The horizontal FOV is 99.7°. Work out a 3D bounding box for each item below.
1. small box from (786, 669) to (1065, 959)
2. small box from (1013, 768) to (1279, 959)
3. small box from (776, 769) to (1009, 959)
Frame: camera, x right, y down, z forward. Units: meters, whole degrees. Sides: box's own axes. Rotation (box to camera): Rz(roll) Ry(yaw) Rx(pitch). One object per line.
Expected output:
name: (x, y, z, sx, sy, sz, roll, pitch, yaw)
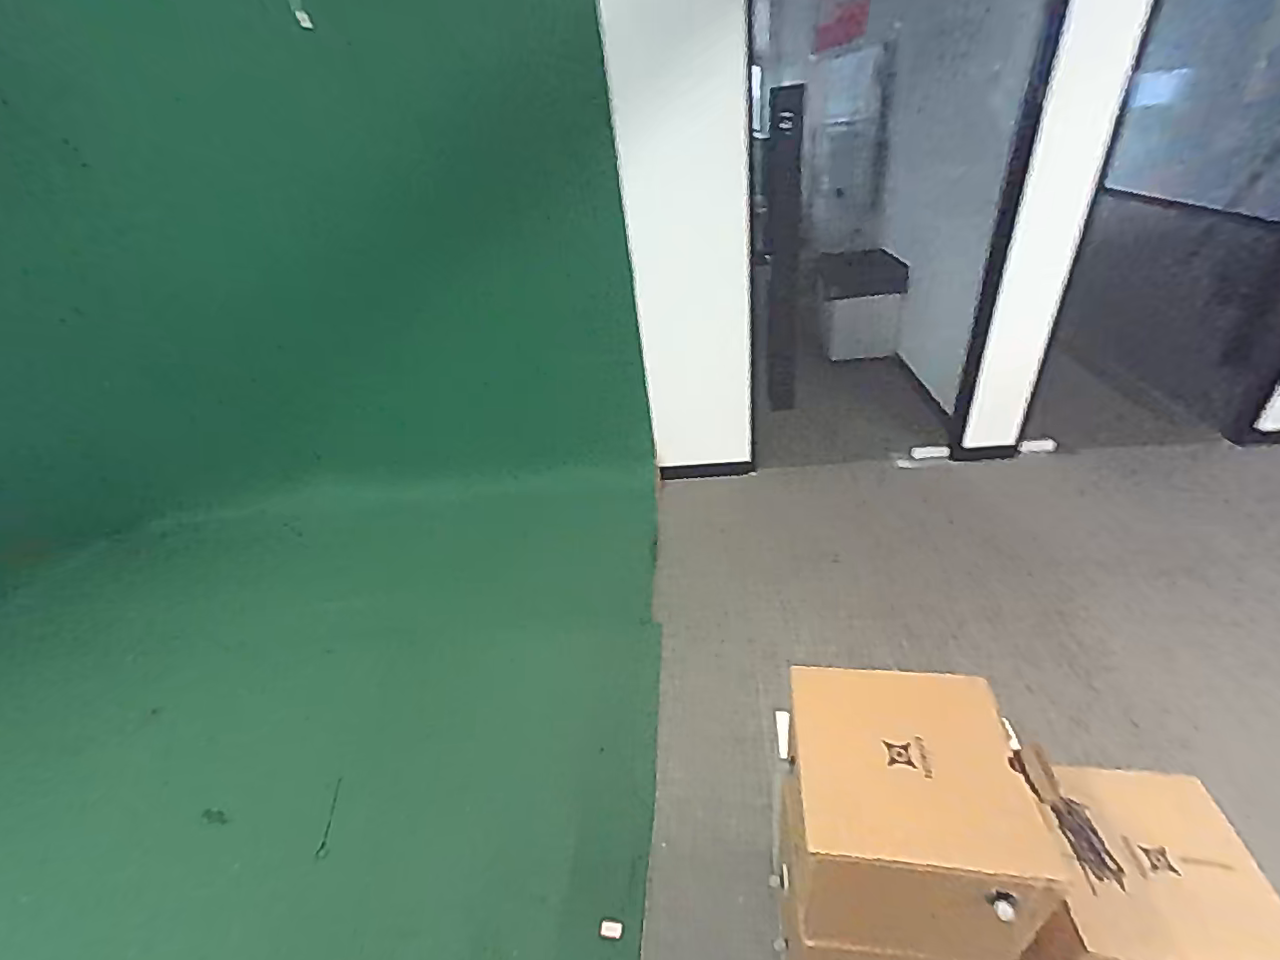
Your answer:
small box: (0.226, 0.296, 0.488, 0.179, 0.176, 0.168, 0, 34, 10)
small box: (0.477, 0.420, 0.542, 0.179, 0.176, 0.168, -1, 34, 12)
small box: (0.244, 0.434, 0.574, 0.179, 0.176, 0.168, -1, 33, 9)
